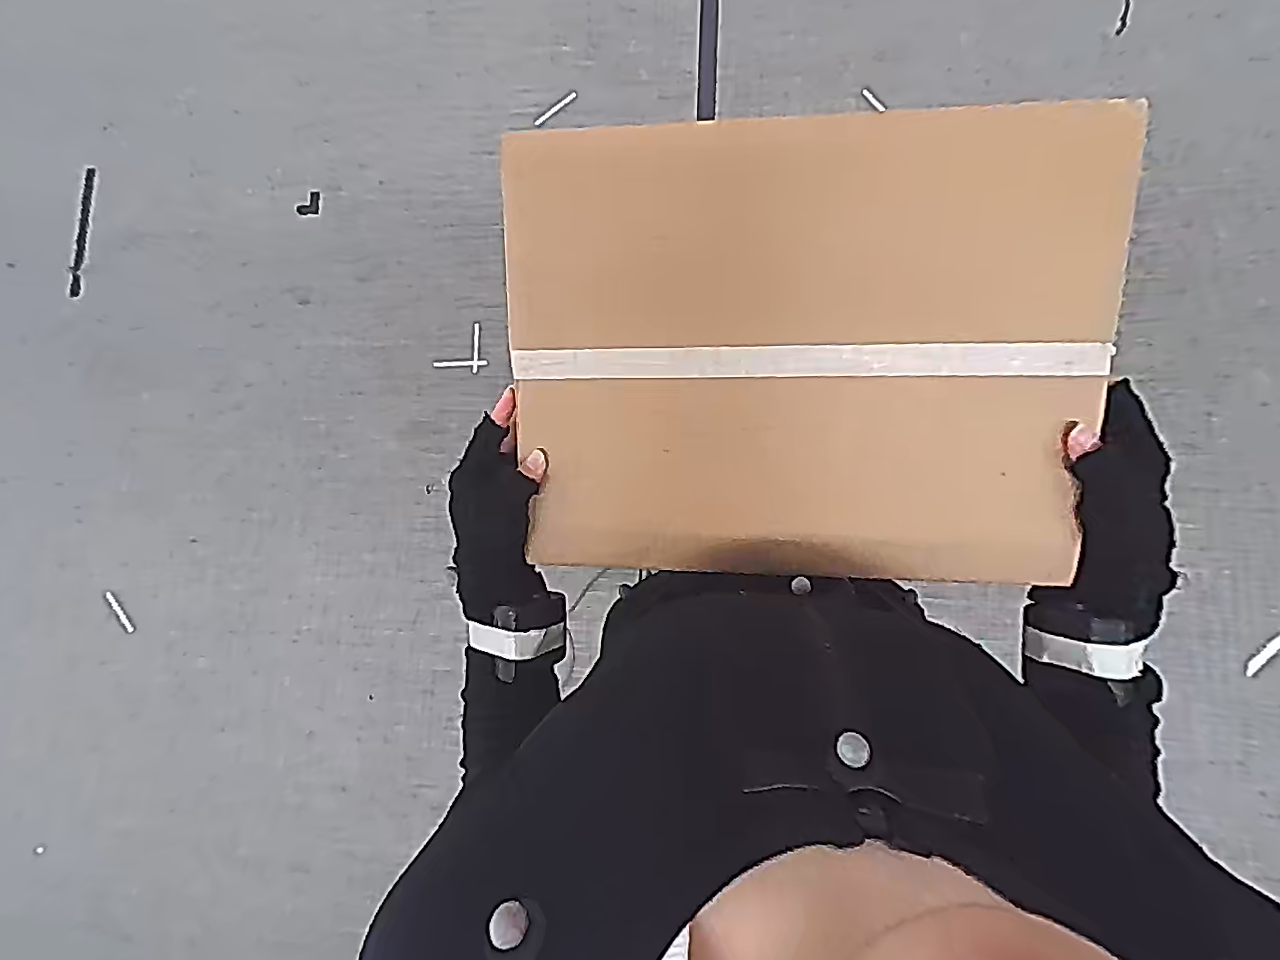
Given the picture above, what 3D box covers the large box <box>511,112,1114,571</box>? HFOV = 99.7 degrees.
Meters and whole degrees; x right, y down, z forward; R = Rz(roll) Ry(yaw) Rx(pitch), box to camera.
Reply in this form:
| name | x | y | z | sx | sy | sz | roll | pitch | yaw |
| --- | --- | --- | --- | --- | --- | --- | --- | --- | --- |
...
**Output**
| name | x | y | z | sx | sy | sz | roll | pitch | yaw |
| --- | --- | --- | --- | --- | --- | --- | --- | --- | --- |
| large box | 0.121 | -0.112 | 0.537 | 0.408 | 0.320 | 0.320 | 1 | 102 | 7 |
